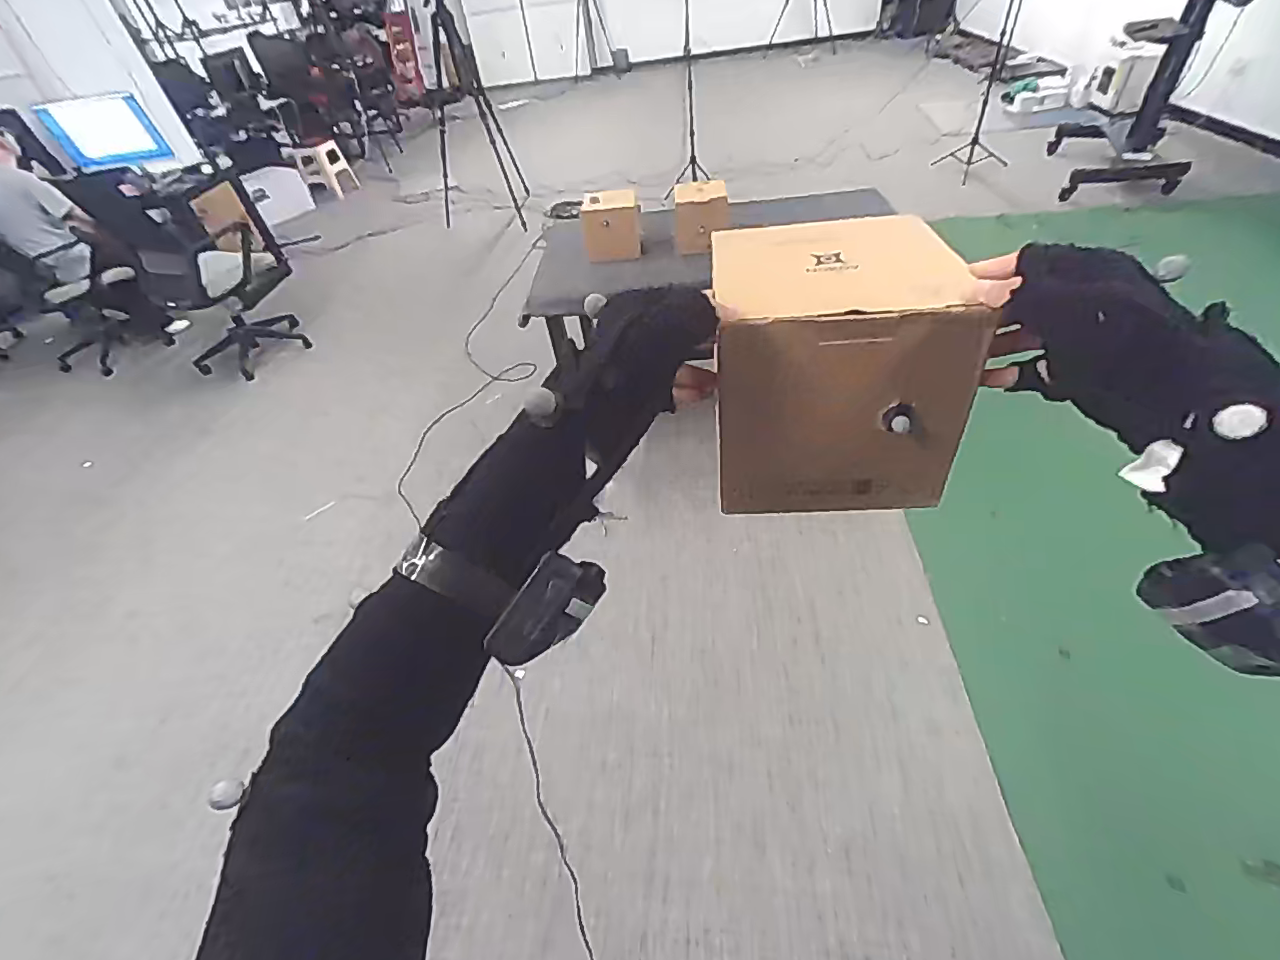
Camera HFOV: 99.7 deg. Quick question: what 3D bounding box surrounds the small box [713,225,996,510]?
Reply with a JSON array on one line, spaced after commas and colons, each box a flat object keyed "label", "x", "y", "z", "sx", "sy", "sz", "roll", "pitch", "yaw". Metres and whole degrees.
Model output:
[{"label": "small box", "x": 0.146, "y": -0.088, "z": 0.440, "sx": 0.168, "sy": 0.176, "sz": 0.179, "roll": -1, "pitch": 40, "yaw": 7}]

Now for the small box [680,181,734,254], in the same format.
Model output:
[{"label": "small box", "x": 0.221, "y": -0.856, "z": 1.777, "sx": 0.168, "sy": 0.176, "sz": 0.179, "roll": -2, "pitch": 45, "yaw": 6}]

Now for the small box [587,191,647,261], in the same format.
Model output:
[{"label": "small box", "x": -0.070, "y": -0.847, "z": 1.811, "sx": 0.179, "sy": 0.176, "sz": 0.168, "roll": -3, "pitch": 45, "yaw": 4}]
